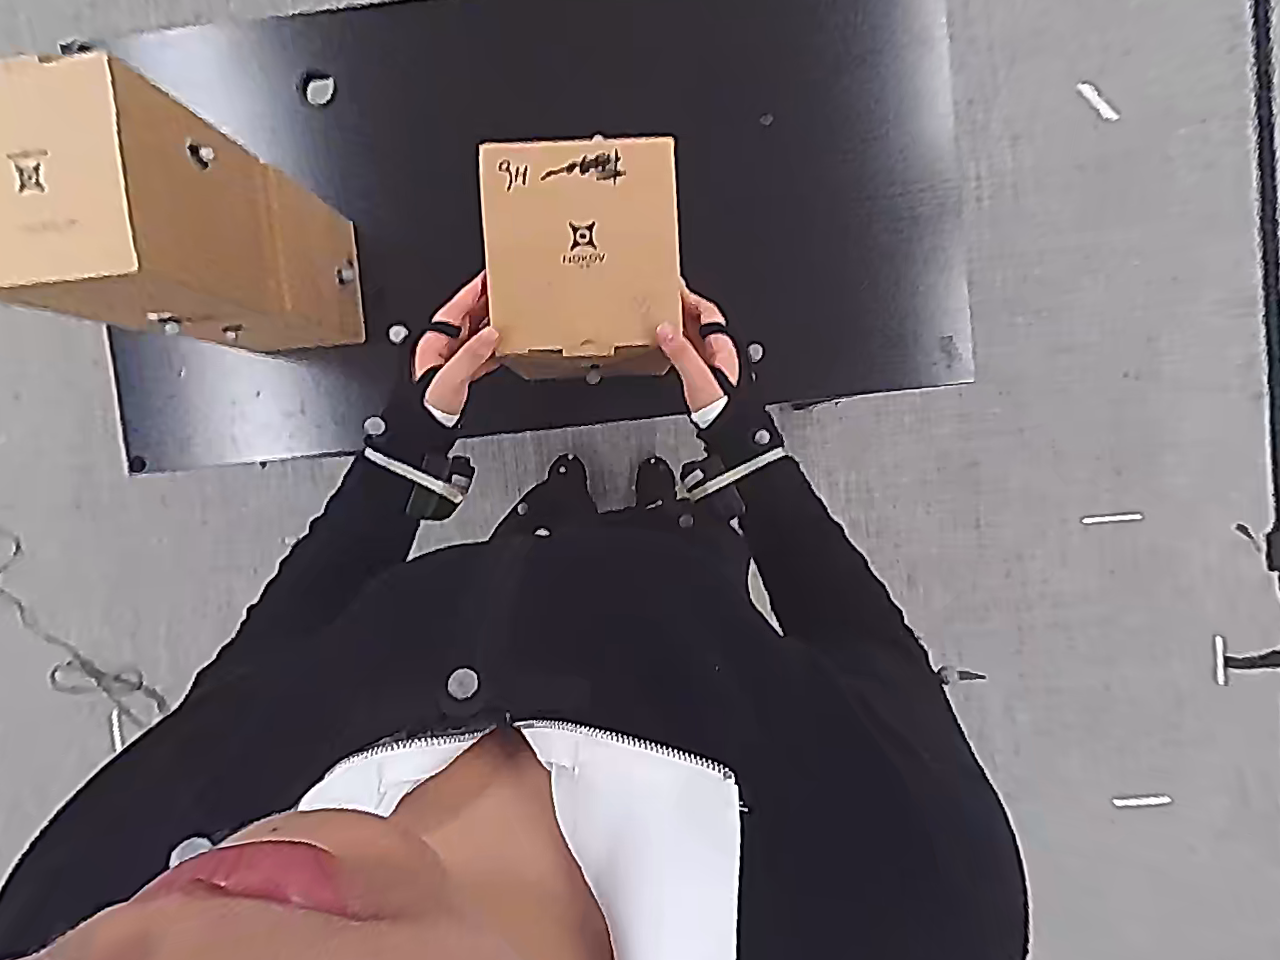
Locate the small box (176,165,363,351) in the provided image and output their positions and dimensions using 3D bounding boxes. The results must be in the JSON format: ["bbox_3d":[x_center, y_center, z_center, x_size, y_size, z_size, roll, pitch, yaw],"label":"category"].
[{"bbox_3d":[-0.483,-0.264,0.681,0.179,0.176,0.168,-5,93,1],"label":"small box"}]

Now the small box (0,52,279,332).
[{"bbox_3d":[-0.489,-0.254,0.519,0.168,0.176,0.179,-6,94,3],"label":"small box"}]

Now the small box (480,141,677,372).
[{"bbox_3d":[-0.052,-0.203,0.541,0.168,0.176,0.179,-3,94,-2],"label":"small box"}]
